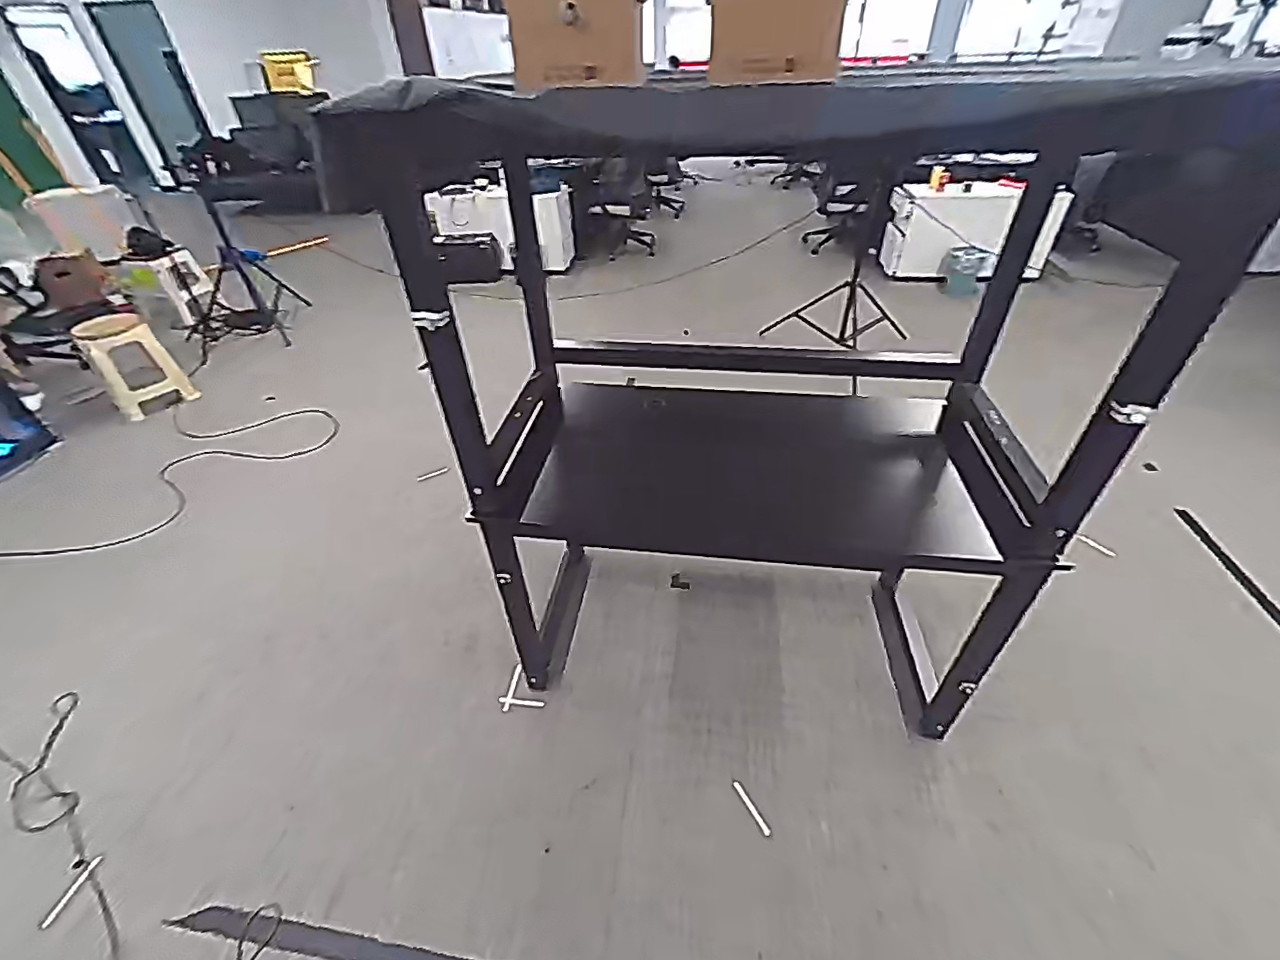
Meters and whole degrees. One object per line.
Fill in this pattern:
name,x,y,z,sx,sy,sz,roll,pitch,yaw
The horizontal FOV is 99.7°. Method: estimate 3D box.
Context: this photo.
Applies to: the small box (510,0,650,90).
small box,-0.074,-0.634,0.730,0.168,0.176,0.179,2,38,4
